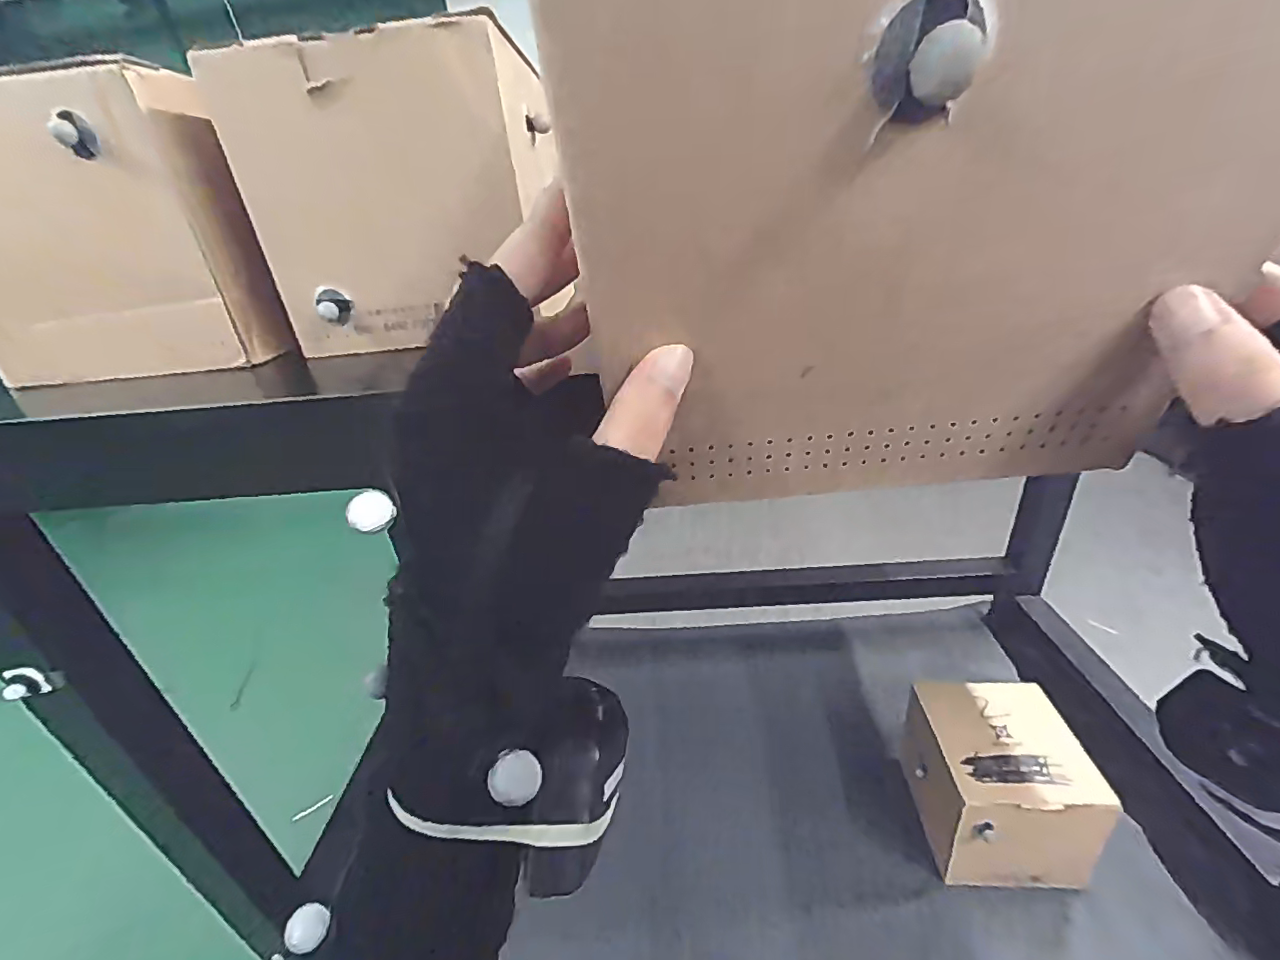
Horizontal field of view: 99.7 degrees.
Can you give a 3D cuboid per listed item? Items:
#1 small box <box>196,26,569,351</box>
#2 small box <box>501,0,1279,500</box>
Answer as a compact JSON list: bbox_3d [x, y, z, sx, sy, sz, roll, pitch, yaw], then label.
[{"bbox_3d":[-0.152,-0.196,0.399,0.168,0.176,0.179,-4,27,3],"label":"small box"},{"bbox_3d":[0.065,-0.107,0.199,0.179,0.176,0.168,-5,44,4],"label":"small box"}]
